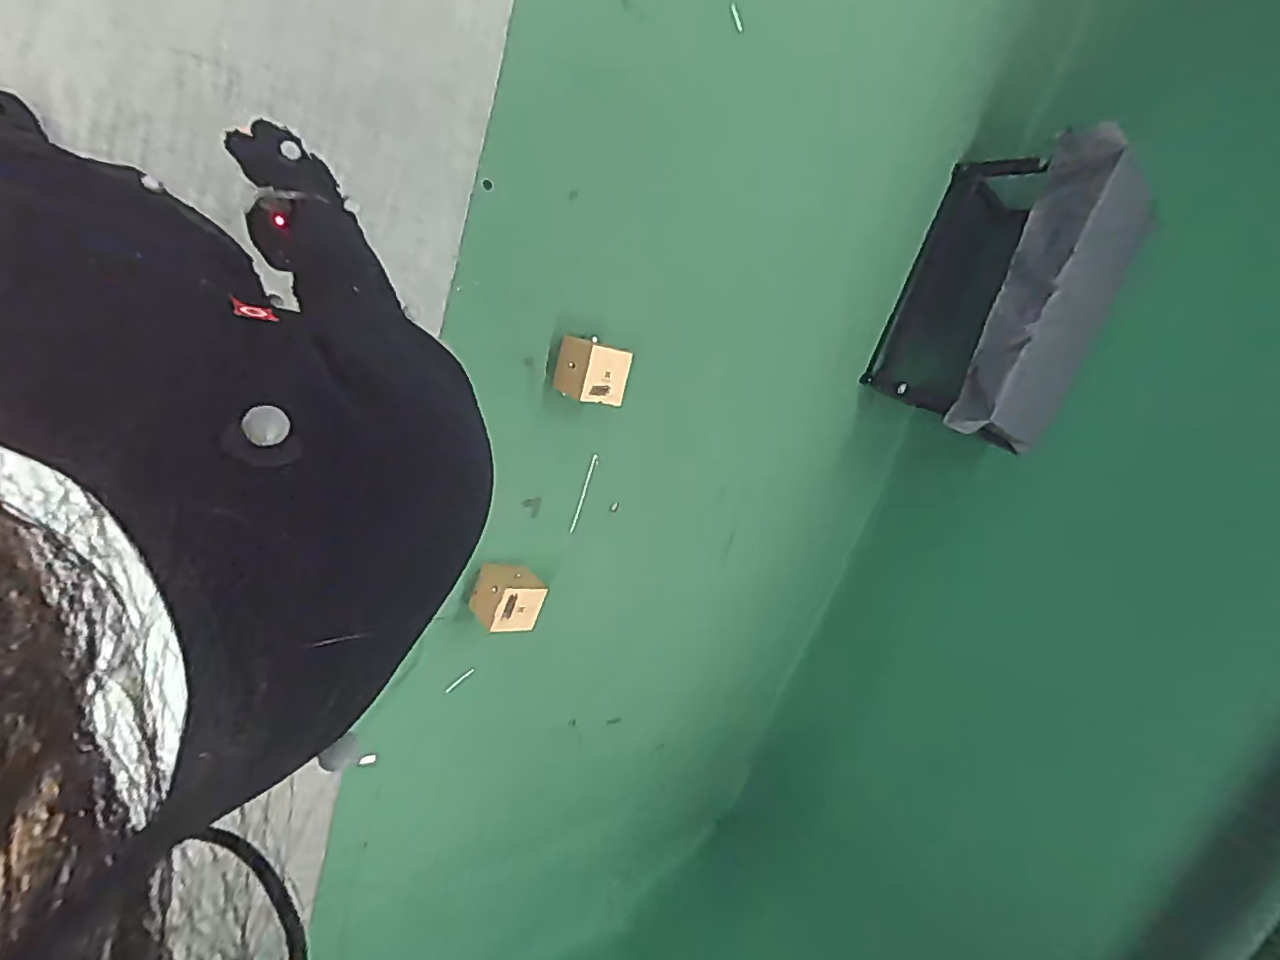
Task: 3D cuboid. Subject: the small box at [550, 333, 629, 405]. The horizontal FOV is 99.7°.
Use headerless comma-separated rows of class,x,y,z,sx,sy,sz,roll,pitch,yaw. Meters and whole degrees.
small box,-0.168,-0.356,1.732,0.168,0.176,0.179,1,110,-44
